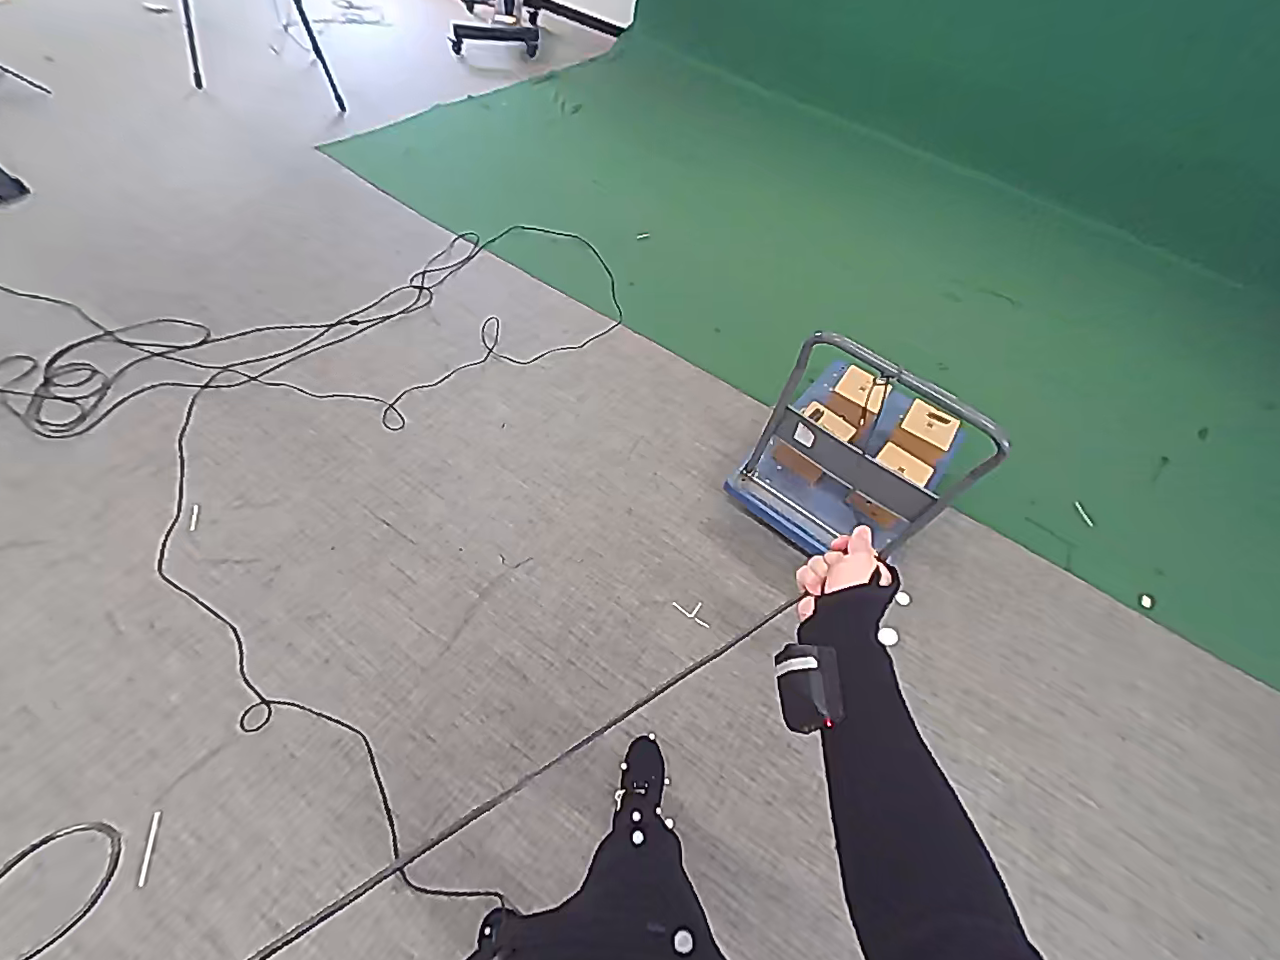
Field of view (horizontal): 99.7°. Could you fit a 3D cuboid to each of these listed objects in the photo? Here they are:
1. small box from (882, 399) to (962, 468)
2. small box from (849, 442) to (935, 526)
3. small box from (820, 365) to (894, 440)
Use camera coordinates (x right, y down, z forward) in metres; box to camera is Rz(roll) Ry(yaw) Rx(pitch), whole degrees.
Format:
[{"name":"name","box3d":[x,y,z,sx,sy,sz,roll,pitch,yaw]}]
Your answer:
[{"name":"small box","box3d":[0.986,-0.145,1.901,0.168,0.176,0.179,33,58,16]},{"name":"small box","box3d":[0.816,0.016,1.765,0.168,0.176,0.179,37,59,17]},{"name":"small box","box3d":[0.781,-0.277,1.965,0.168,0.176,0.179,34,57,14]}]
